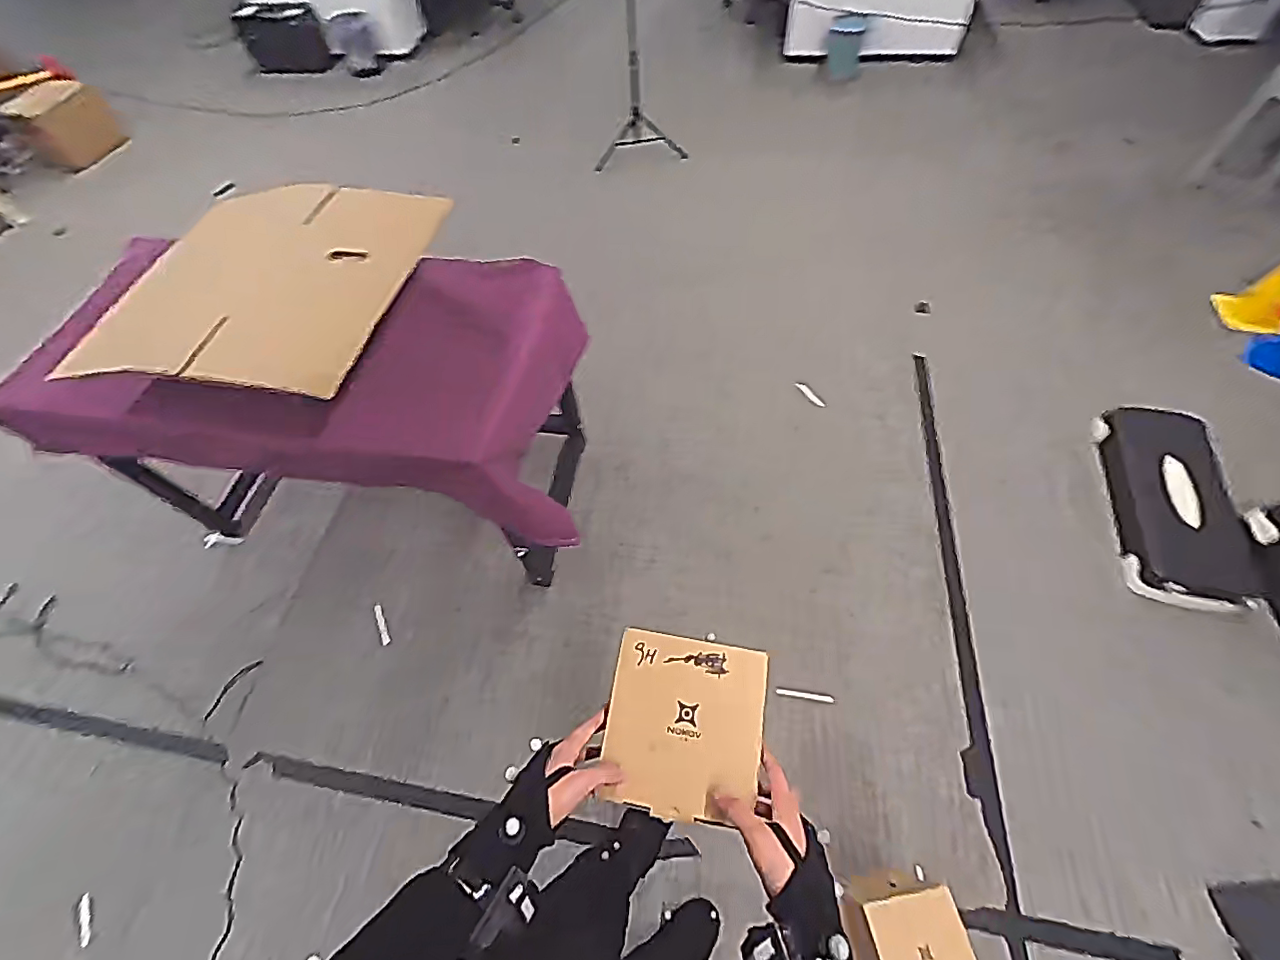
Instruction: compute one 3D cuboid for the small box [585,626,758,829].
[{"bbox_3d":[0.039,0.291,0.652,0.168,0.176,0.179,9,66,5],"label":"small box"}]
